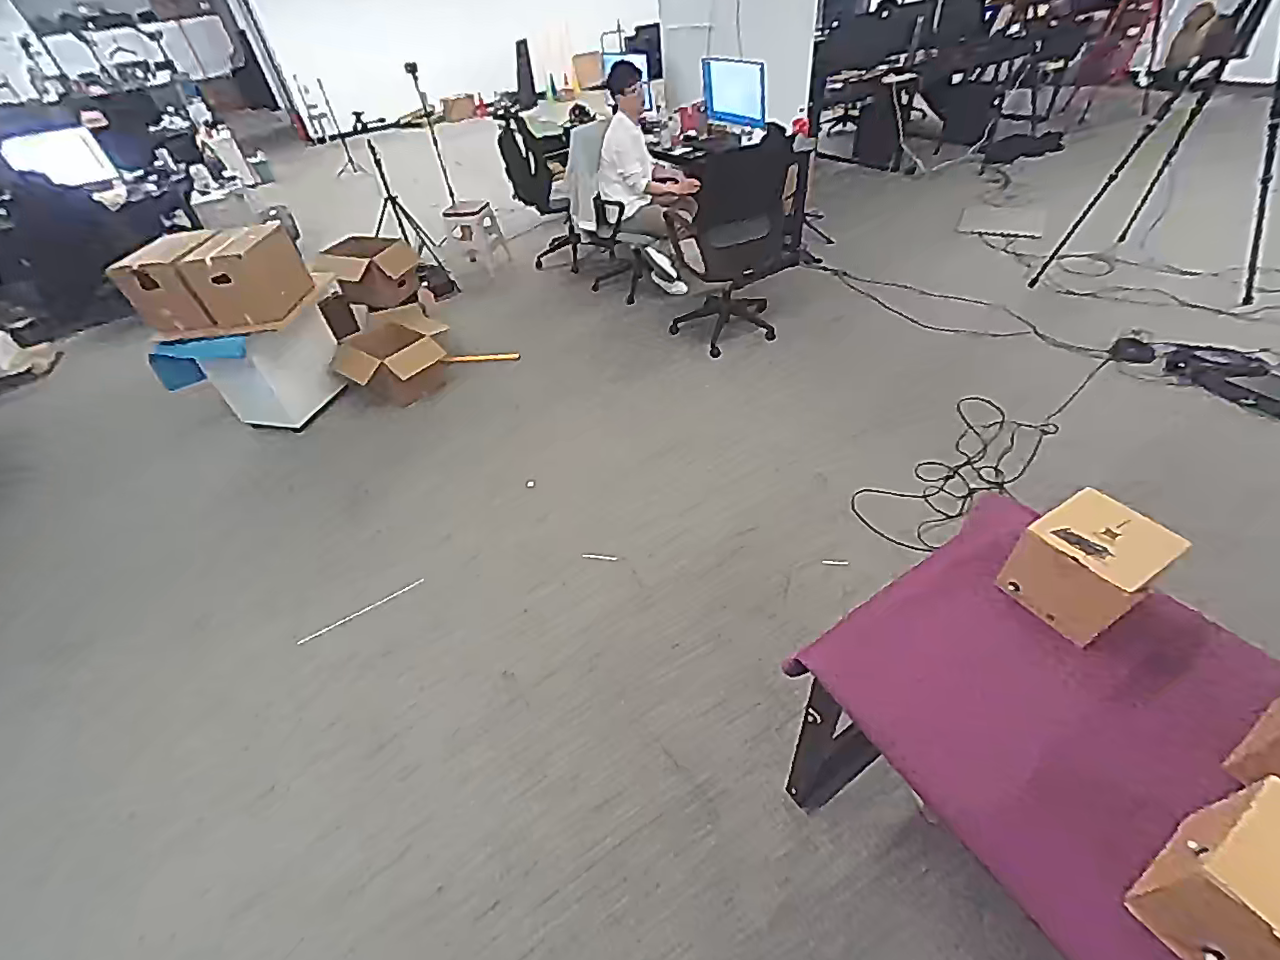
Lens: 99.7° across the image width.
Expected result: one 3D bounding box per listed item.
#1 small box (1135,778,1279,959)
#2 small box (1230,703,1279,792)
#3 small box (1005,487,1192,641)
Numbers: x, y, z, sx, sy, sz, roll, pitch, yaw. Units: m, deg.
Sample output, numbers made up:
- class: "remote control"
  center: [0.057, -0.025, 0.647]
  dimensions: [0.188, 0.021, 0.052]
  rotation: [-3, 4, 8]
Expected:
- class: "small box"
  center: [0.725, 0.486, 0.610]
  dimensions: [0.179, 0.176, 0.168]
  rotation: [-27, 47, -20]
- class: "small box"
  center: [0.947, 0.368, 0.703]
  dimensions: [0.179, 0.176, 0.168]
  rotation: [-27, 45, -18]
- class: "small box"
  center: [0.785, 0.150, 0.952]
  dimensions: [0.179, 0.176, 0.168]
  rotation: [-26, 47, -17]
